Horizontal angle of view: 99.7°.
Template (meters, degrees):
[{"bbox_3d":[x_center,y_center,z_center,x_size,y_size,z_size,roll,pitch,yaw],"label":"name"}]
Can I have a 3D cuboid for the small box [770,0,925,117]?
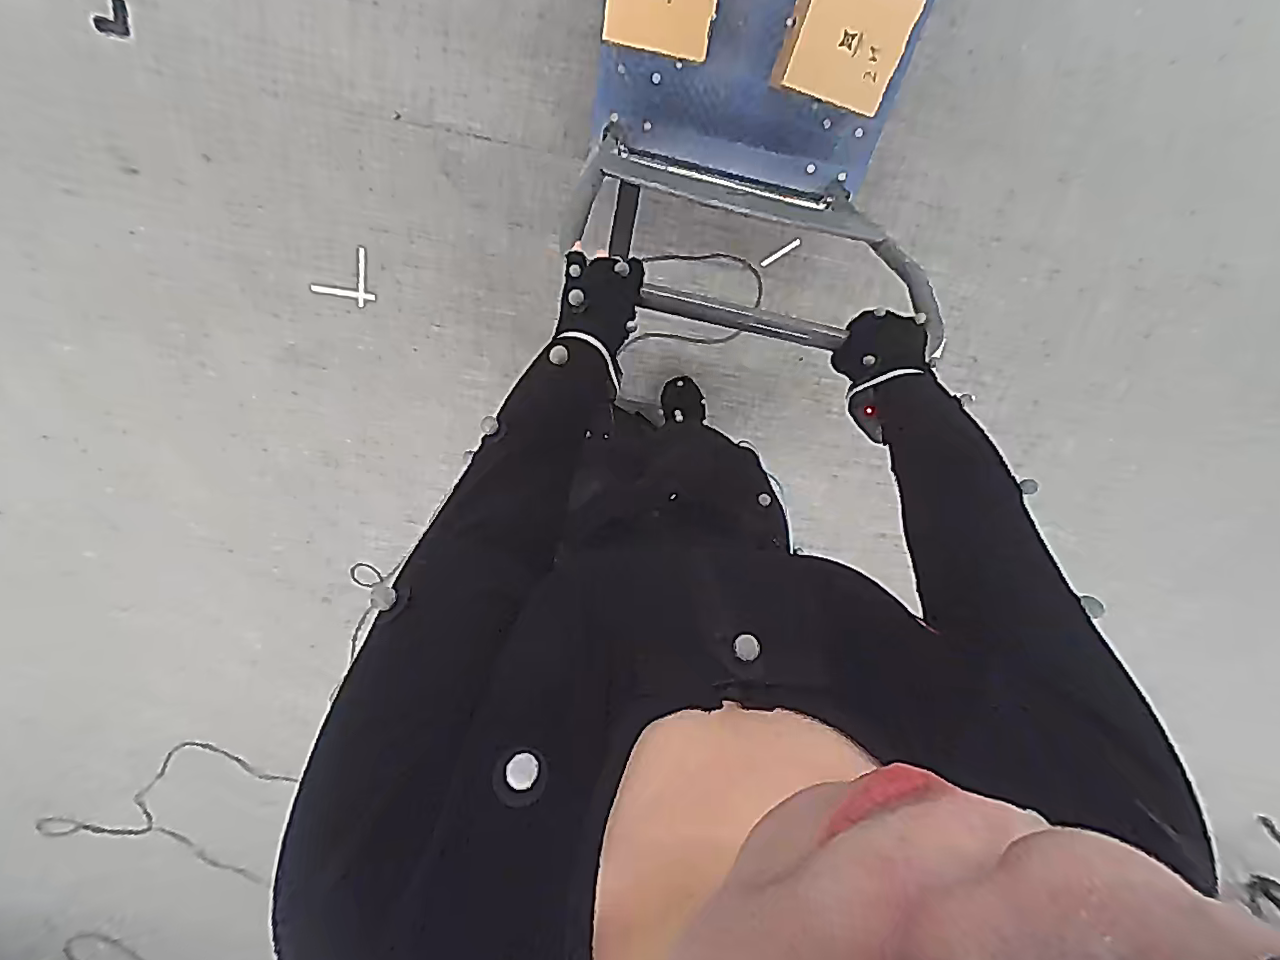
[{"bbox_3d":[0.345,-0.758,0.945,0.179,0.176,0.168,14,126,-8],"label":"small box"}]

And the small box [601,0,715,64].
[{"bbox_3d":[0.036,-0.821,0.913,0.179,0.176,0.168,8,126,-5],"label":"small box"}]
